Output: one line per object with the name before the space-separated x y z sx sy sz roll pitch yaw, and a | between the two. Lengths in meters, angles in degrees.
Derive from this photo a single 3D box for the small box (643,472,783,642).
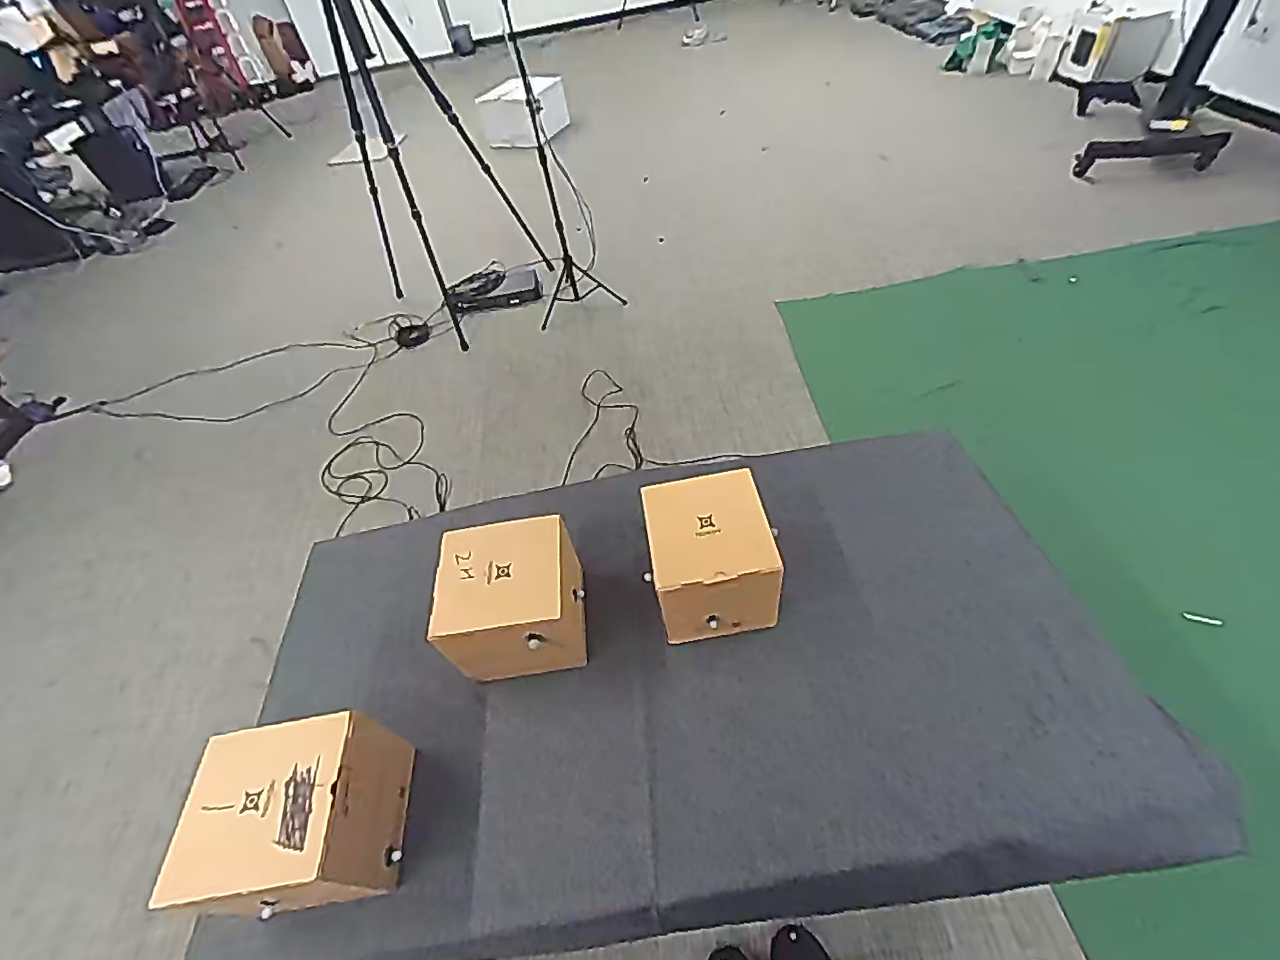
small box | 0.101 0.117 0.805 0.168 0.176 0.179 -10 50 1

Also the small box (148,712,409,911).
small box | -0.401 0.397 0.644 0.179 0.176 0.168 -10 49 1

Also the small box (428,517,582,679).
small box | -0.182 0.177 0.794 0.179 0.176 0.168 -8 50 2
